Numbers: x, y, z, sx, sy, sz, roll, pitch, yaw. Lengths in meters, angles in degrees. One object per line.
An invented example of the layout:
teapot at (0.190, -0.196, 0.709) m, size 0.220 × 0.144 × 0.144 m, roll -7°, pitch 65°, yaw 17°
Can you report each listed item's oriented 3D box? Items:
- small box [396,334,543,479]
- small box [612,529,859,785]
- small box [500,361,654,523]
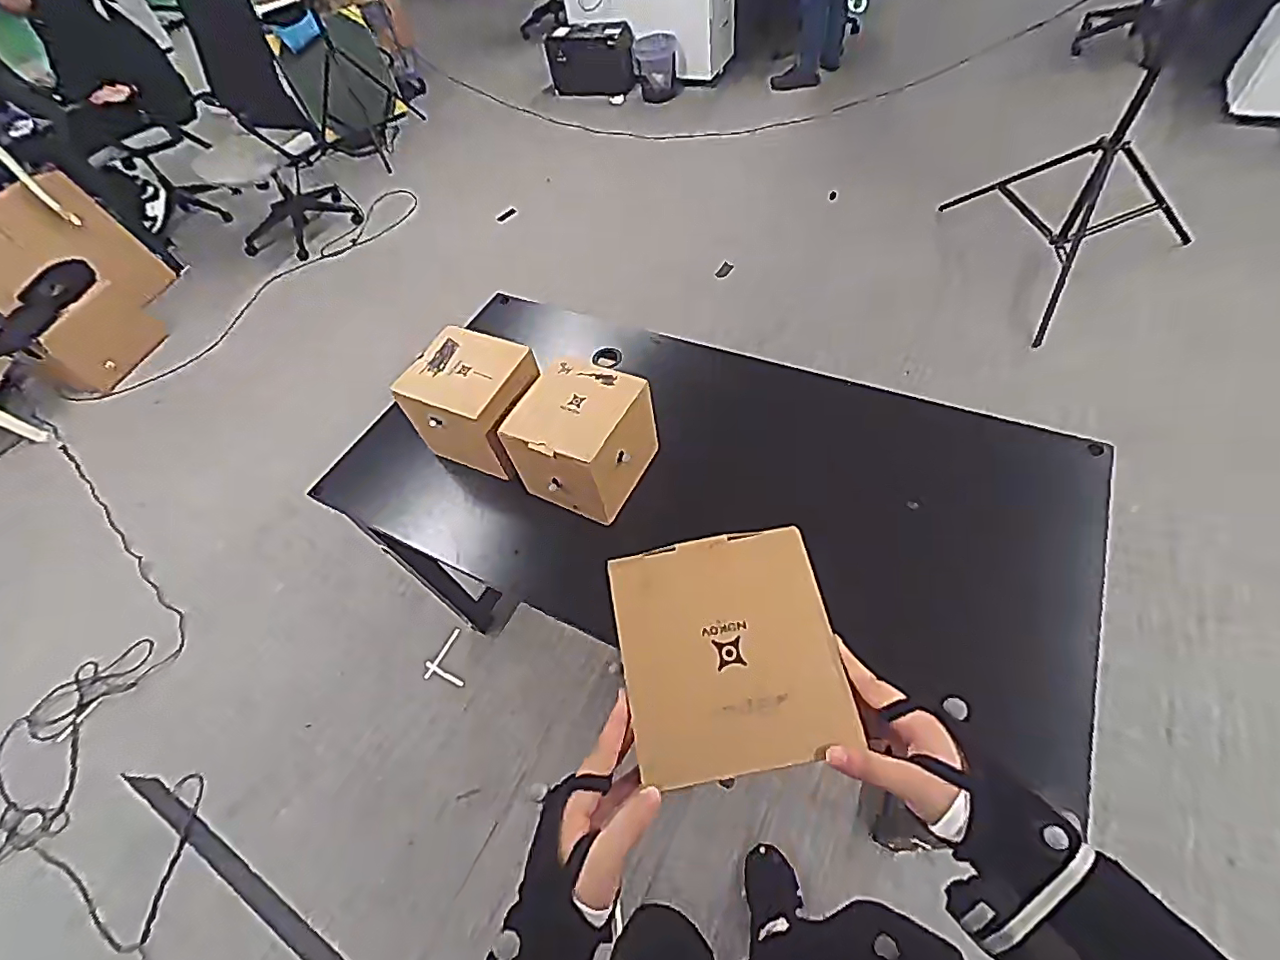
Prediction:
small box at (-0.278, -0.126, 0.950) m, size 0.179 × 0.176 × 0.168 m, roll 19°, pitch 60°, yaw 19°
small box at (0.071, 0.166, 0.501) m, size 0.168 × 0.176 × 0.179 m, roll -10°, pitch 66°, yaw -2°
small box at (-0.089, -0.057, 0.875) m, size 0.168 × 0.176 × 0.179 m, roll 20°, pitch 61°, yaw 21°
